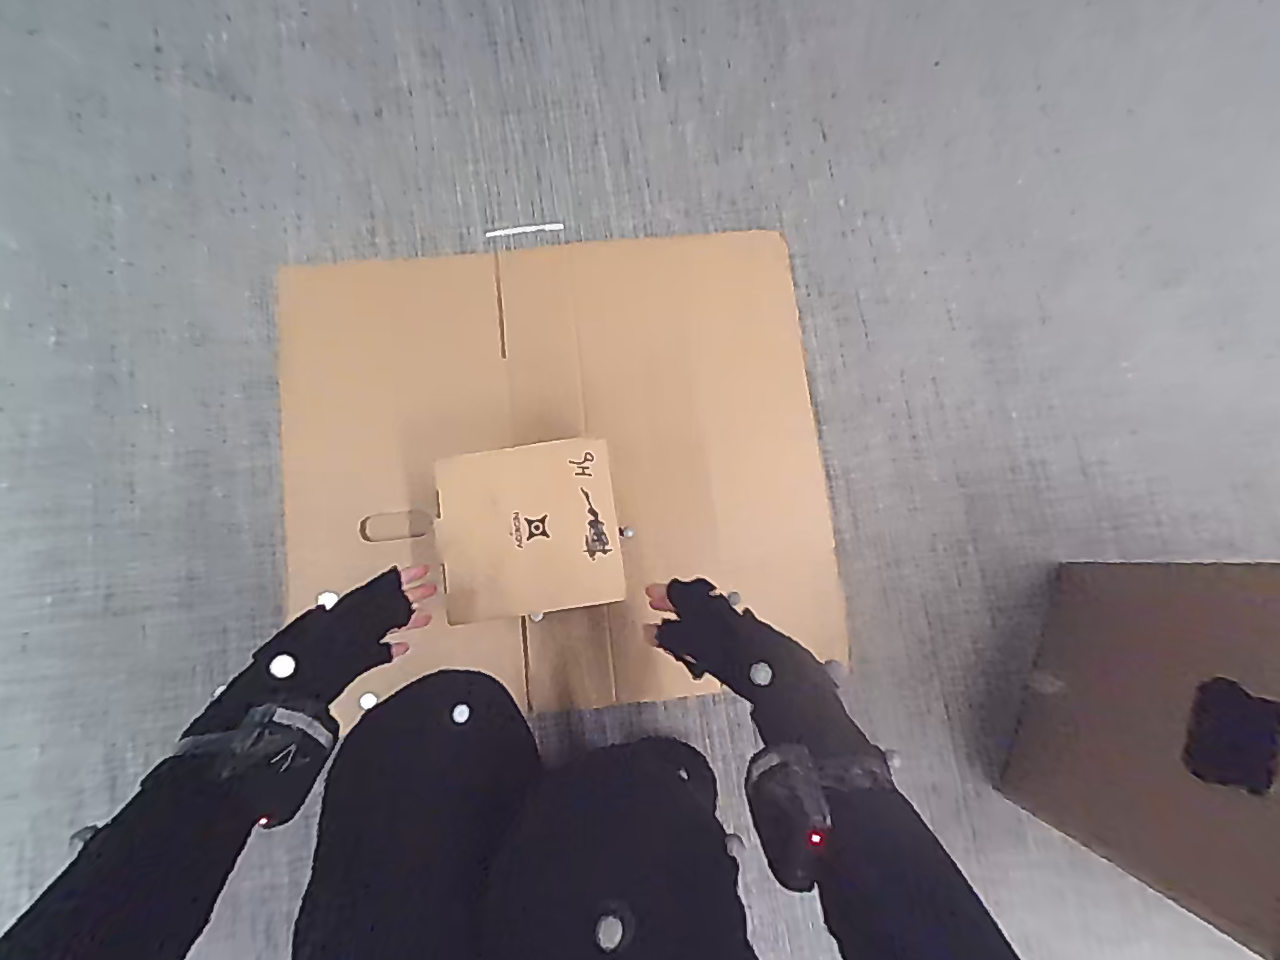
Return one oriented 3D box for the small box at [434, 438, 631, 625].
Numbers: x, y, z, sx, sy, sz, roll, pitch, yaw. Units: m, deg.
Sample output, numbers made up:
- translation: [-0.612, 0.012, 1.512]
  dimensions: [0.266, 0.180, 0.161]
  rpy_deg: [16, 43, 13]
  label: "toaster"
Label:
- translation: [-0.111, 0.065, 0.619]
  dimensions: [0.179, 0.176, 0.168]
  rpy_deg: [-11, 79, -1]
  label: "small box"
